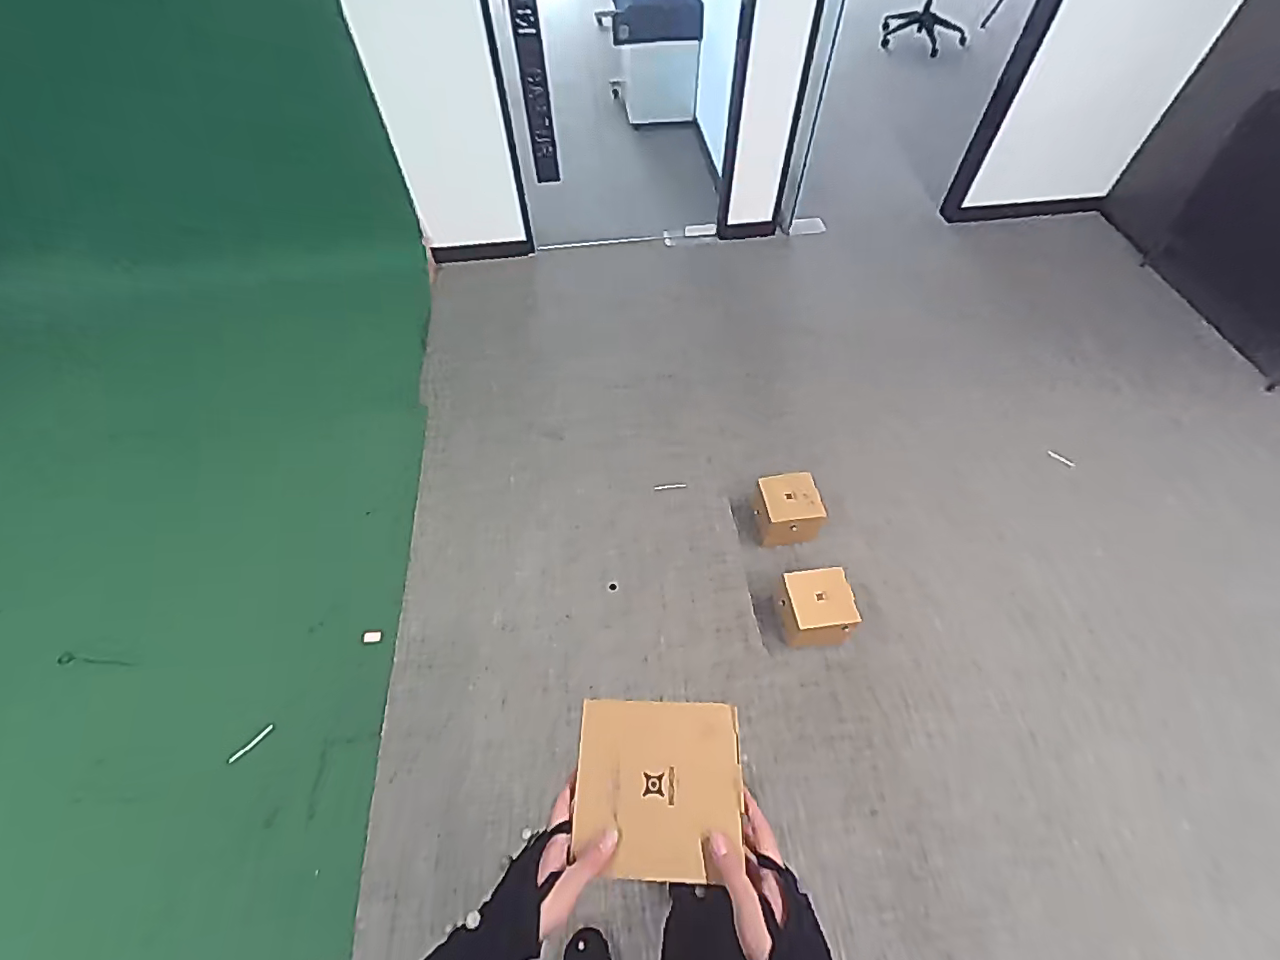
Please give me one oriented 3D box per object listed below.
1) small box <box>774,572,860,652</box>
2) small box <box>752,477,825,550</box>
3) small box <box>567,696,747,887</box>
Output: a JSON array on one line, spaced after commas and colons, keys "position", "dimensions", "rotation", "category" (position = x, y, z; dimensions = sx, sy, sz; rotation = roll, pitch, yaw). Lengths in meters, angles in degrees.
[{"position": [0.494, 0.380, 1.545], "dimensions": [0.179, 0.176, 0.168], "rotation": [-6, 55, -5], "category": "small box"}, {"position": [0.463, 0.112, 1.726], "dimensions": [0.179, 0.176, 0.168], "rotation": [-6, 56, -4], "category": "small box"}, {"position": [0.026, 0.358, 0.627], "dimensions": [0.179, 0.176, 0.168], "rotation": [0, 56, 6], "category": "small box"}]
